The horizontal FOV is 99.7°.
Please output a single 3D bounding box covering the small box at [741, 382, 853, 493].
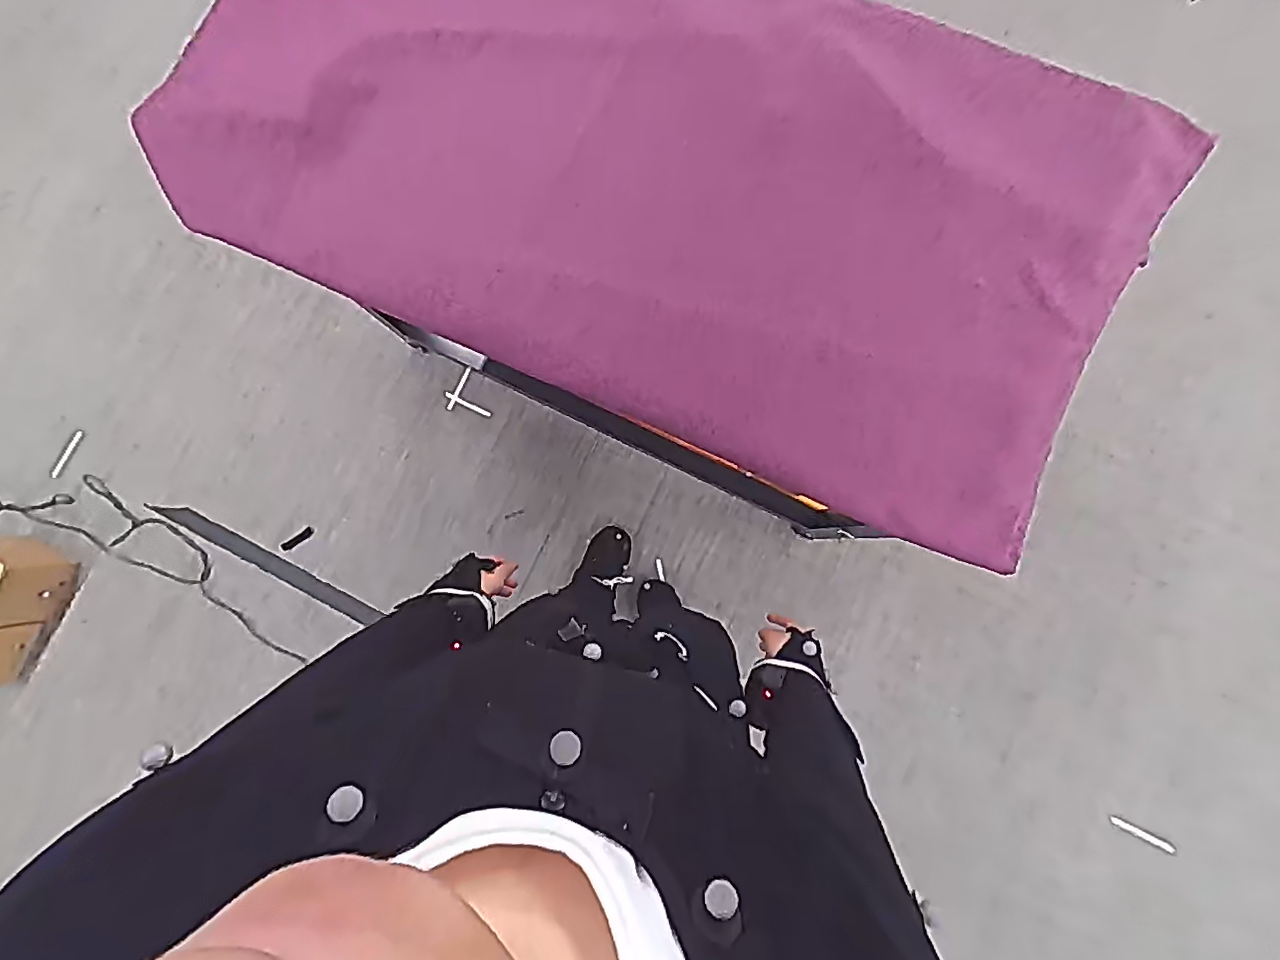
[{"bbox_3d":[0.335,-0.083,1.193,0.168,0.176,0.179,27,85,5],"label":"small box"}]
